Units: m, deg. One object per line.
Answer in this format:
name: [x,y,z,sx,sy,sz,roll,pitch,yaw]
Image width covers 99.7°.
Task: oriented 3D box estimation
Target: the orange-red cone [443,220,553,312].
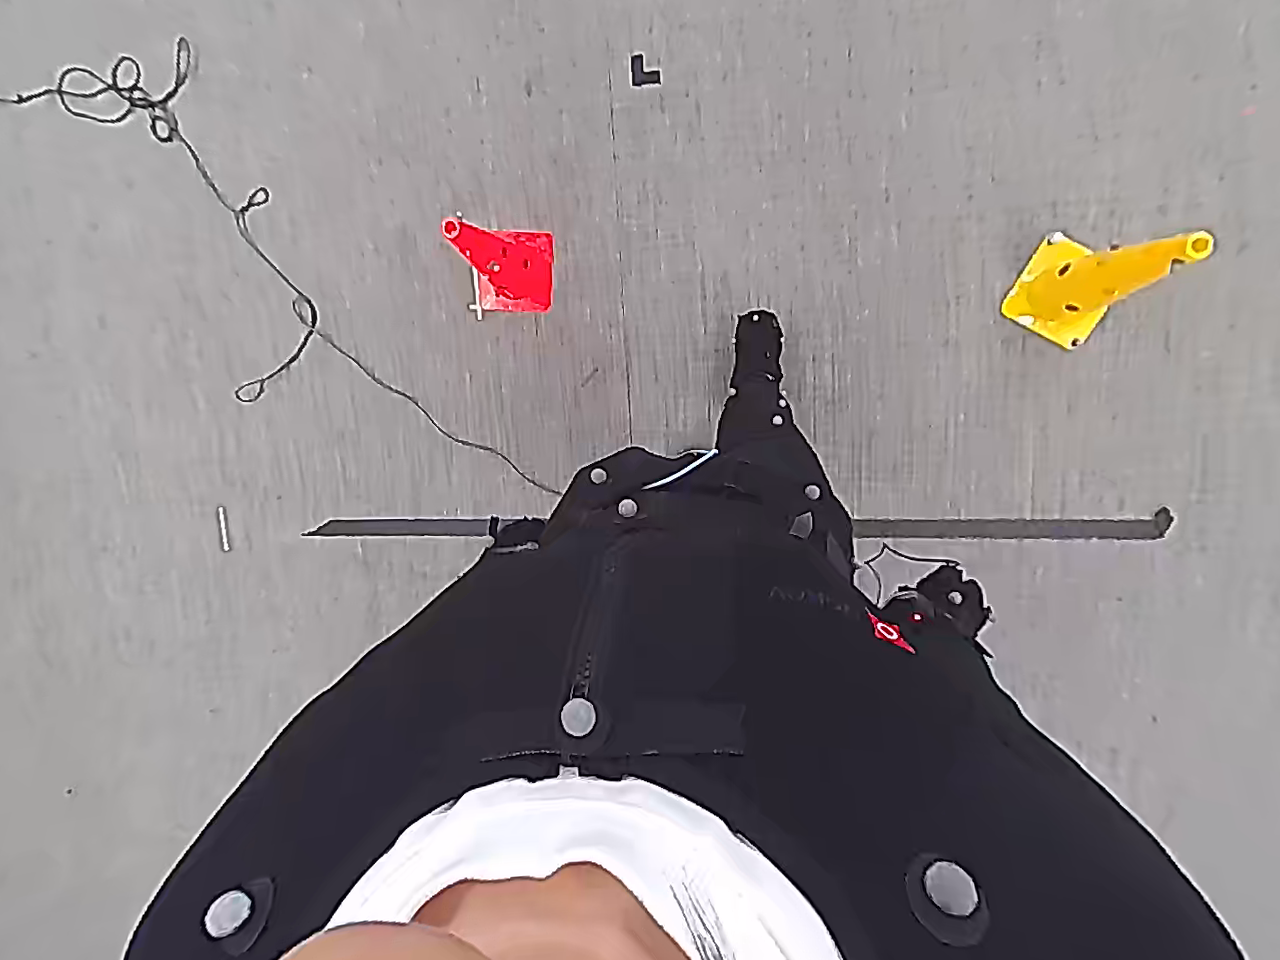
orange-red cone: [-0.344,-0.516,1.229,0.199,0.360,0.198,6,99,6]
